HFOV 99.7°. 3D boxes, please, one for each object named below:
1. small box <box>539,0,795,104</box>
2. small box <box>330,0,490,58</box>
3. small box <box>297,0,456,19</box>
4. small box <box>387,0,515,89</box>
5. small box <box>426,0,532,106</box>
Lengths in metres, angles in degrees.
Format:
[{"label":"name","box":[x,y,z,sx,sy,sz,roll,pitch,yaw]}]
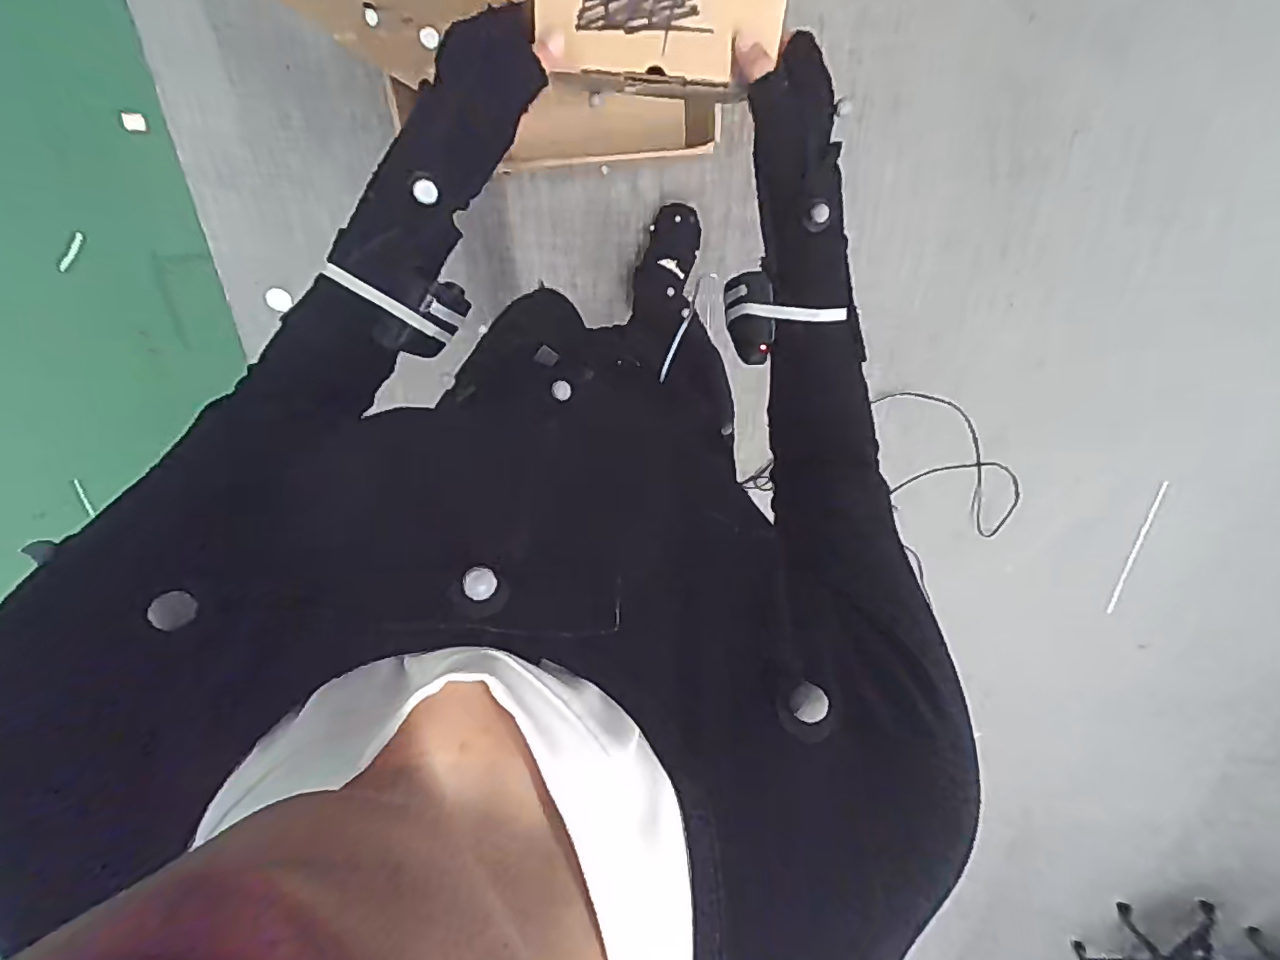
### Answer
[{"label":"small box","box":[0.023,-0.390,0.390,0.168,0.176,0.179,5,124,-7]},{"label":"small box","box":[-0.305,-0.674,0.703,0.168,0.176,0.179,-4,116,1]},{"label":"small box","box":[-0.305,-0.605,0.555,0.168,0.176,0.179,-5,117,1]},{"label":"small box","box":[-0.303,-0.742,0.852,0.168,0.176,0.179,-2,117,1]},{"label":"small box","box":[-0.302,-0.813,0.998,0.168,0.176,0.179,-1,117,1]}]
